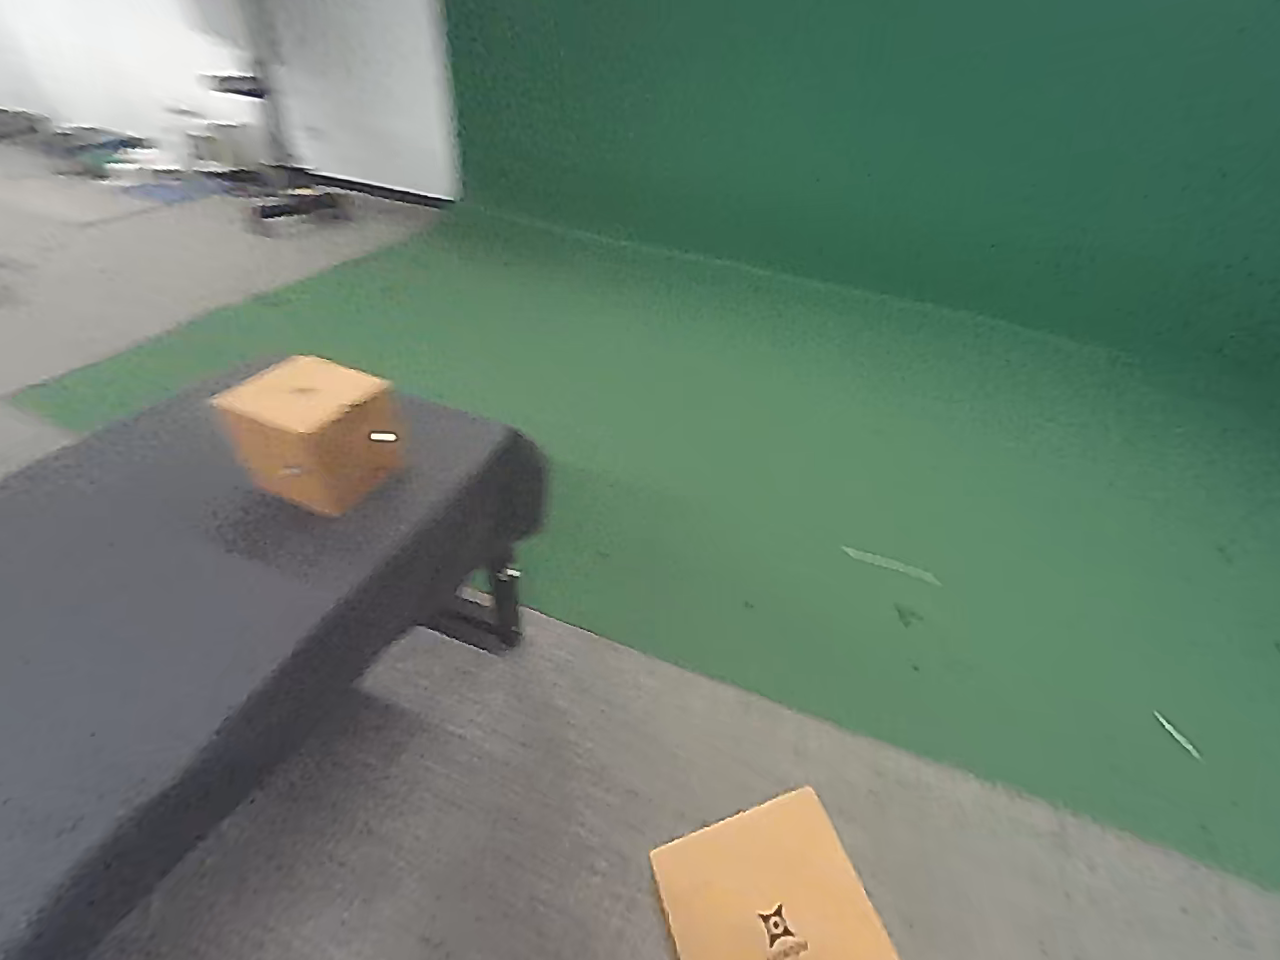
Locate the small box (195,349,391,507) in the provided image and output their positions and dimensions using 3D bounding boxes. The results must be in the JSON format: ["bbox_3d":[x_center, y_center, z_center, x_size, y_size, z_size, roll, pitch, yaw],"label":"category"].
[{"bbox_3d":[-0.528,-0.080,0.853,0.179,0.176,0.168,17,41,13],"label":"small box"}]
